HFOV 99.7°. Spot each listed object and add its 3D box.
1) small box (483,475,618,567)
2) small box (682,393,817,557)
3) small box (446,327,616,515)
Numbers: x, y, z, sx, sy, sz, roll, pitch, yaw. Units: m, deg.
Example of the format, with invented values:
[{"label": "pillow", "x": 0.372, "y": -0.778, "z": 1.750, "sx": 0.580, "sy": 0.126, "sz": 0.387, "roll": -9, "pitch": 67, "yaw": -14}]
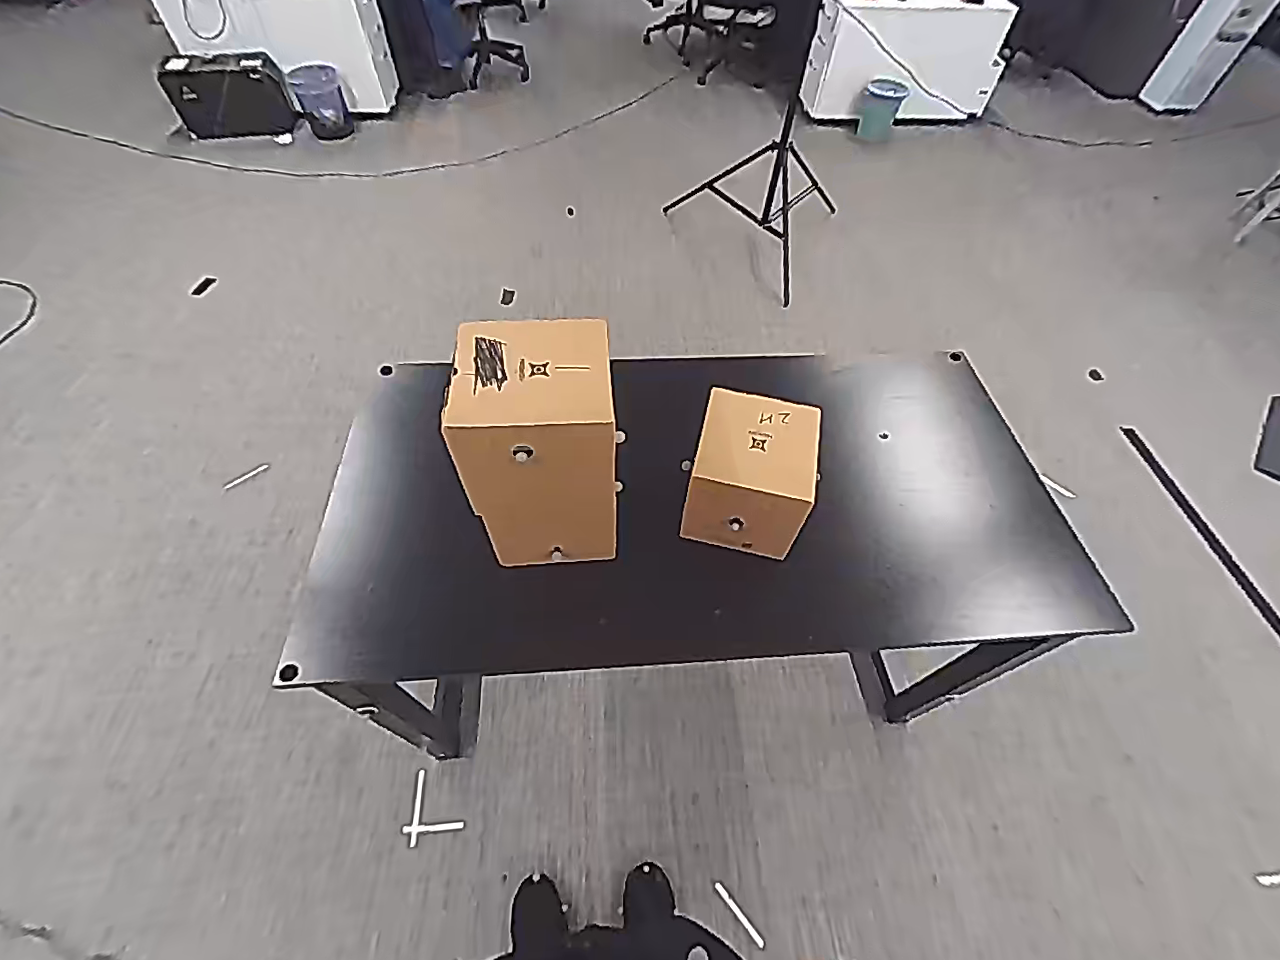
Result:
[{"label": "small box", "x": -0.128, "y": 0.019, "z": 0.811, "sx": 0.179, "sy": 0.176, "sz": 0.168, "roll": -3, "pitch": 54, "yaw": -6}, {"label": "small box", "x": 0.164, "y": -0.003, "z": 0.838, "sx": 0.168, "sy": 0.176, "sz": 0.179, "roll": 13, "pitch": 54, "yaw": 6}, {"label": "small box", "x": -0.122, "y": -0.068, "z": 0.669, "sx": 0.179, "sy": 0.176, "sz": 0.168, "roll": -3, "pitch": 55, "yaw": -5}]
